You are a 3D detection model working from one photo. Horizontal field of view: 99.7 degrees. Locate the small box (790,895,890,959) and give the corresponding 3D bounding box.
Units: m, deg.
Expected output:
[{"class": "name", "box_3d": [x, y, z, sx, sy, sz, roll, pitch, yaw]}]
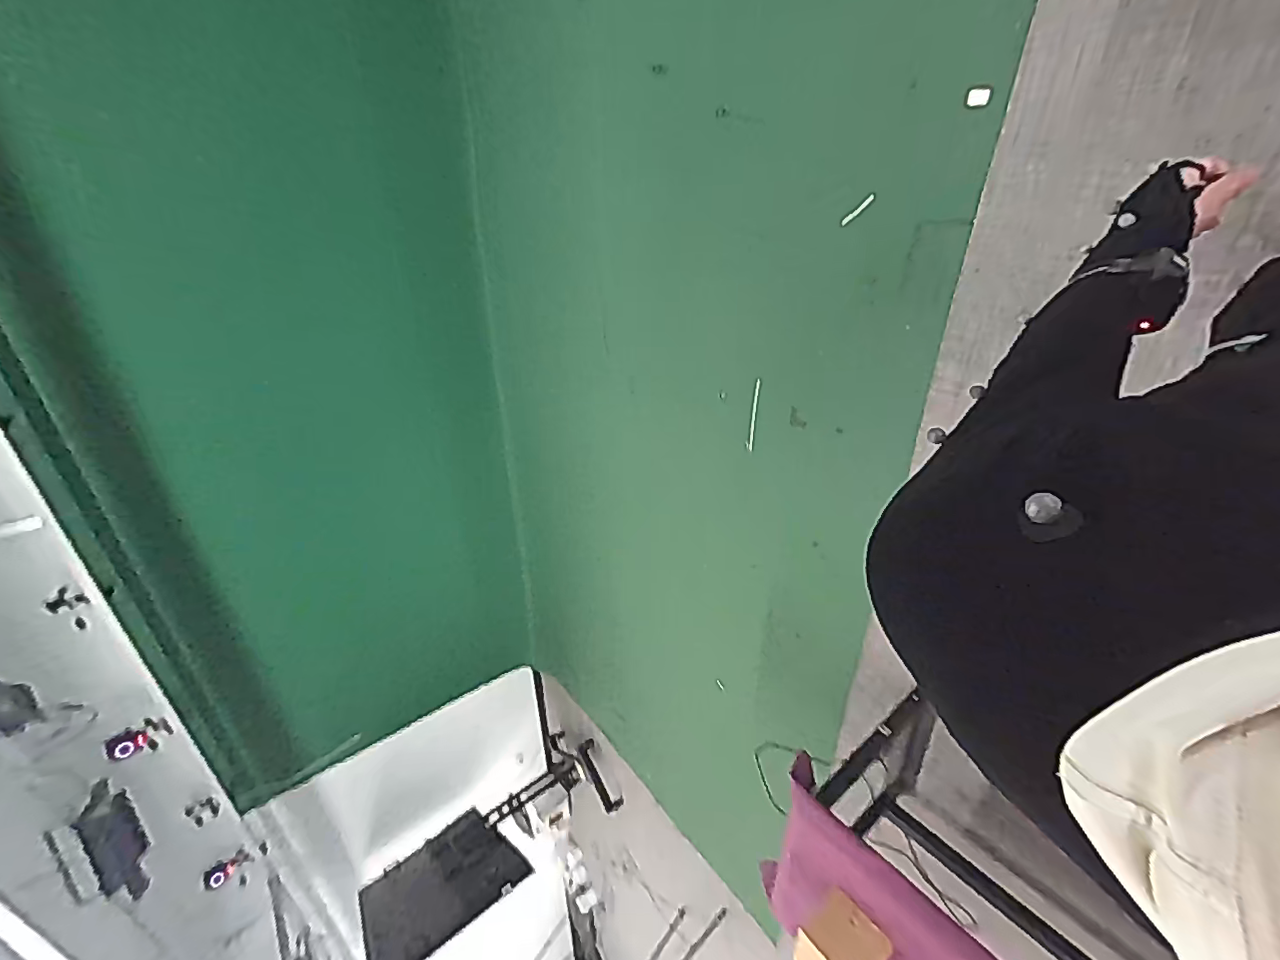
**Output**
[{"class": "small box", "box_3d": [0.535, 1.269, 1.452, 0.179, 0.176, 0.168, 29, 130, 43]}]
